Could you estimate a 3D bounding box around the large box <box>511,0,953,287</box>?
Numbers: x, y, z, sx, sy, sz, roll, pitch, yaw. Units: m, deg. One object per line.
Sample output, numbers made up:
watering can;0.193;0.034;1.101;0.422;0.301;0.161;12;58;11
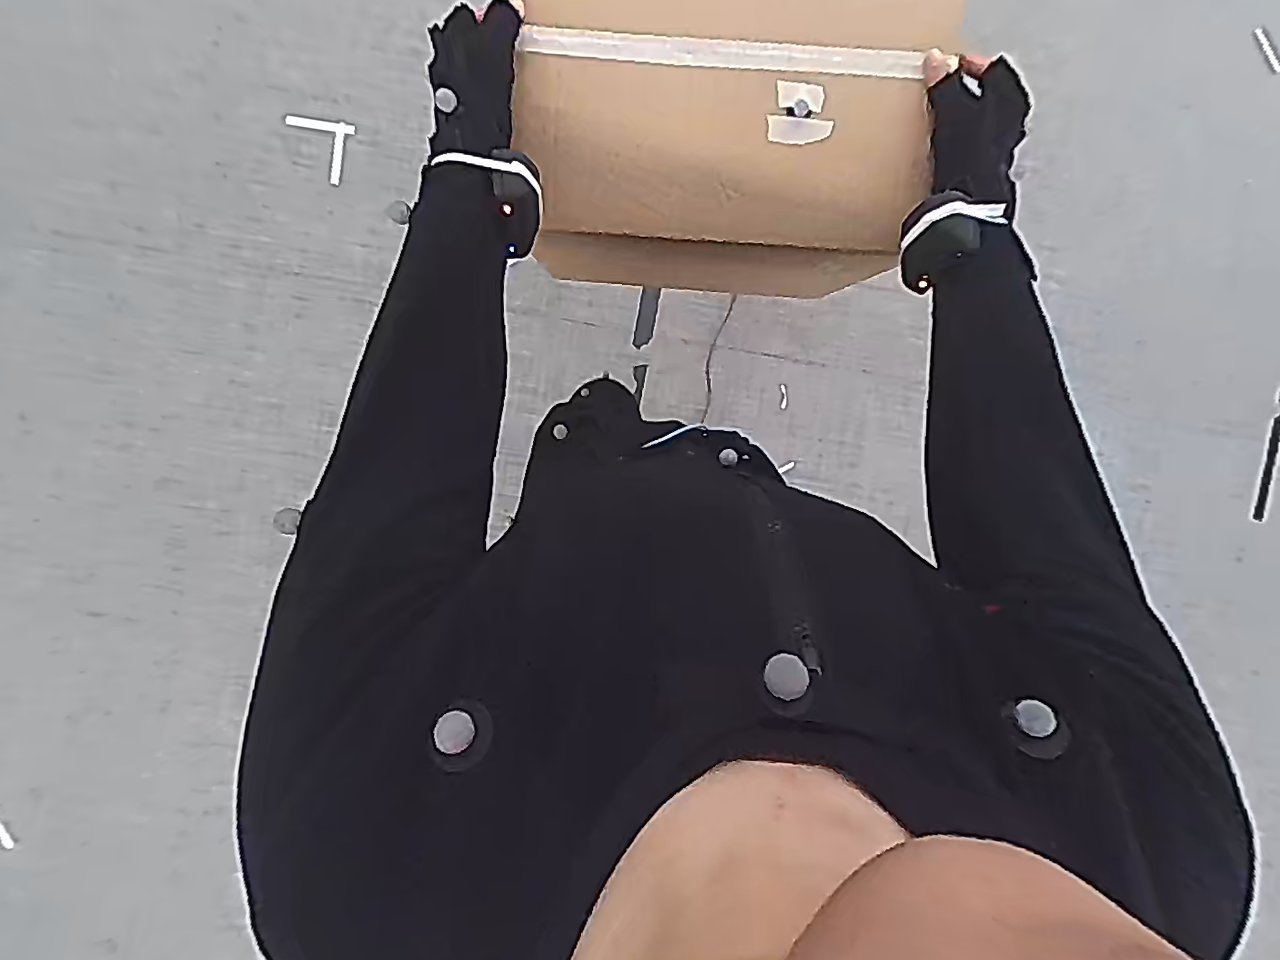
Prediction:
large box;0.078;-0.418;0.641;0.408;0.320;0.320;3;102;-1
